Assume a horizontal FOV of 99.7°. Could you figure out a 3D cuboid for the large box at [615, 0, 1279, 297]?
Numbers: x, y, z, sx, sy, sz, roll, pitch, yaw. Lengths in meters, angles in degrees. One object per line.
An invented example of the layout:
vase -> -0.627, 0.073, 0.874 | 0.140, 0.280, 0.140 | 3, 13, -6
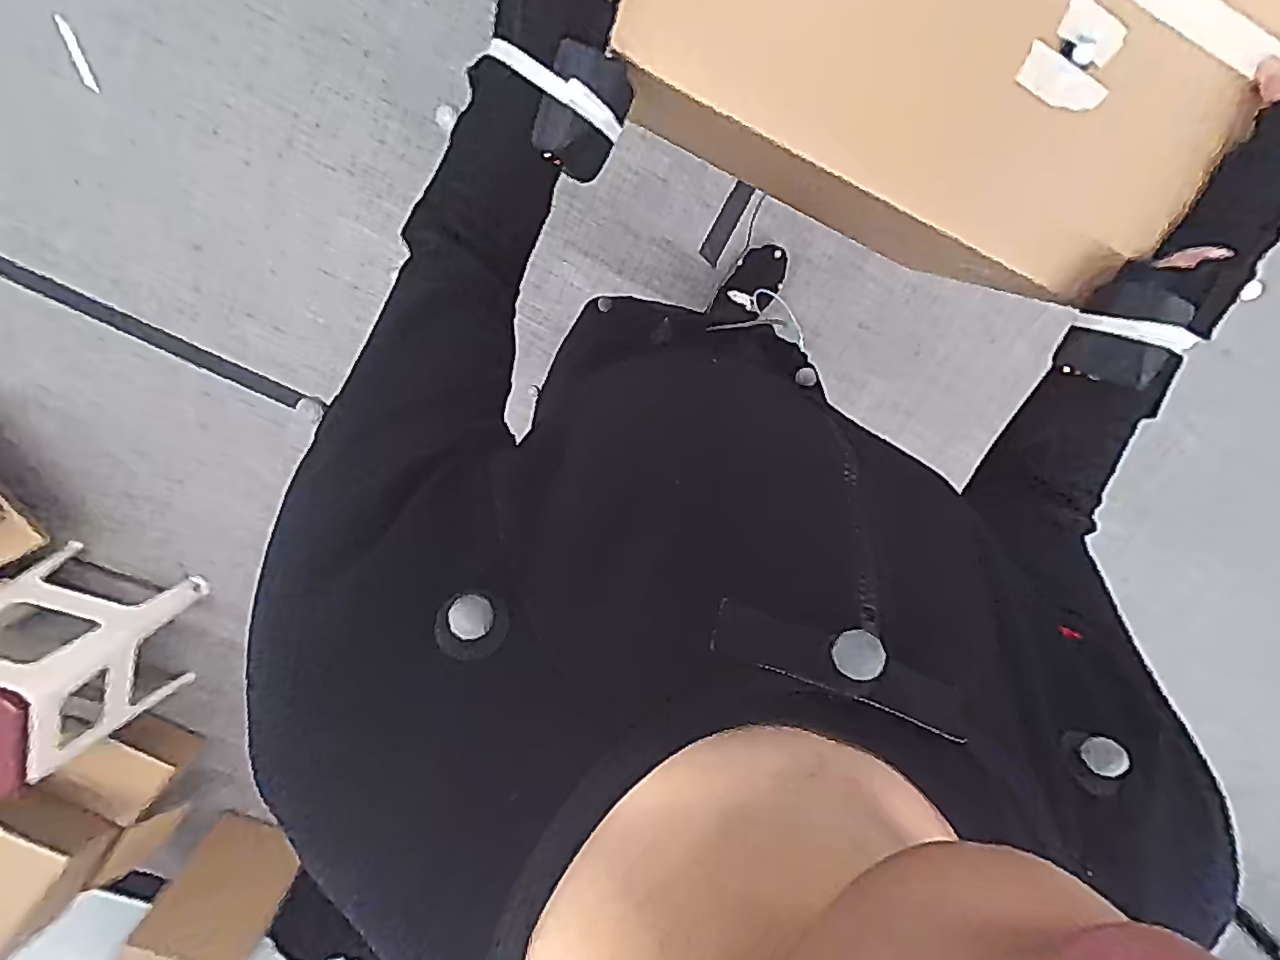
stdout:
large box -> 0.217, -0.400, 0.452 | 0.408, 0.320, 0.320 | 21, 116, -12
